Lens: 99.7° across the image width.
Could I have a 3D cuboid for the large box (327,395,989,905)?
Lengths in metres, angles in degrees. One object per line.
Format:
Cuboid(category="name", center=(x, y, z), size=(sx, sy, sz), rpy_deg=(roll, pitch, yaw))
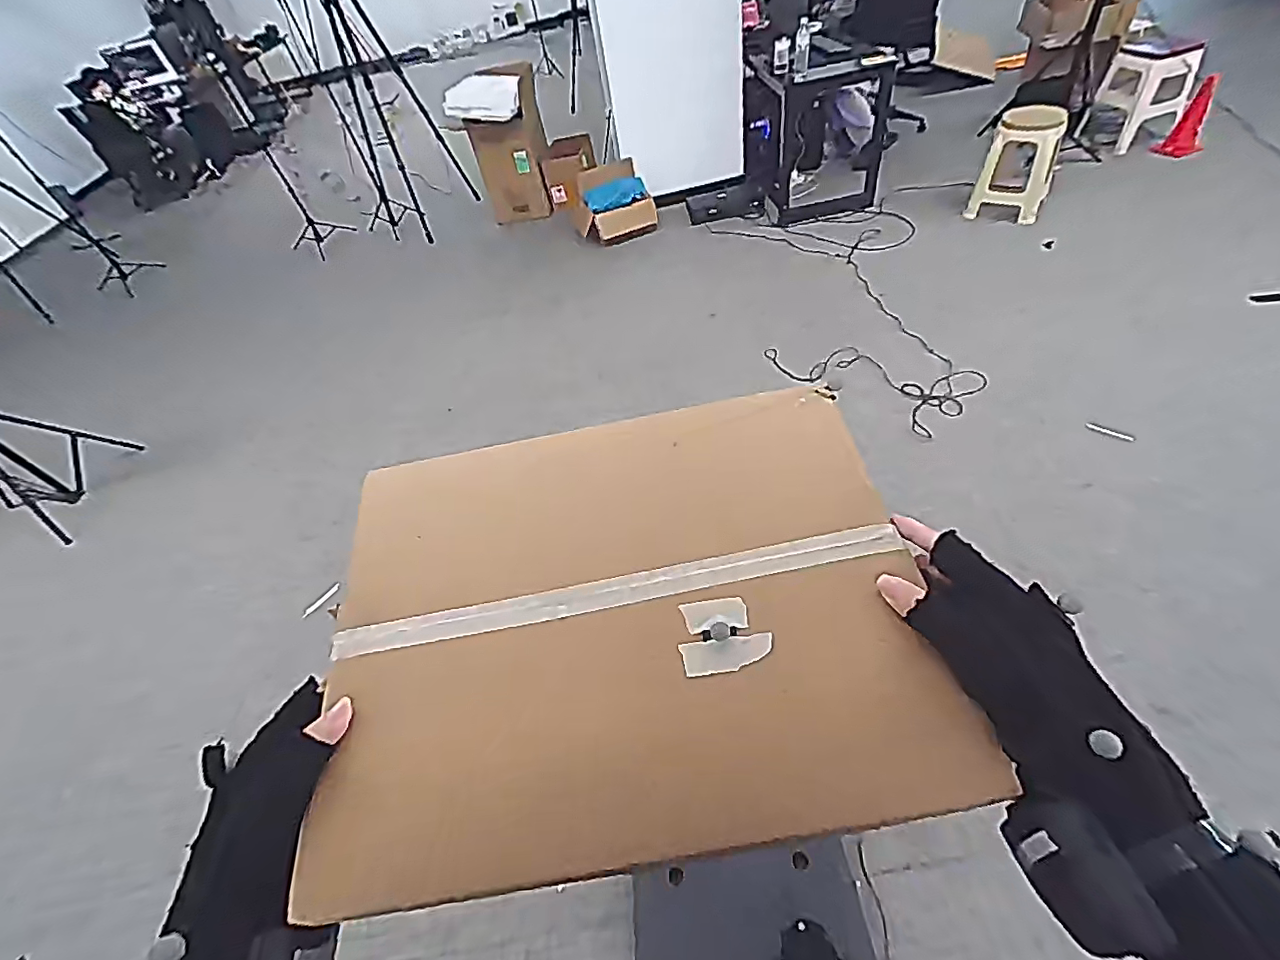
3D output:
Cuboid(category="large box", center=(0.004, 0.168, 0.518), size=(0.408, 0.320, 0.320), rpy_deg=(-11, 56, 1))
